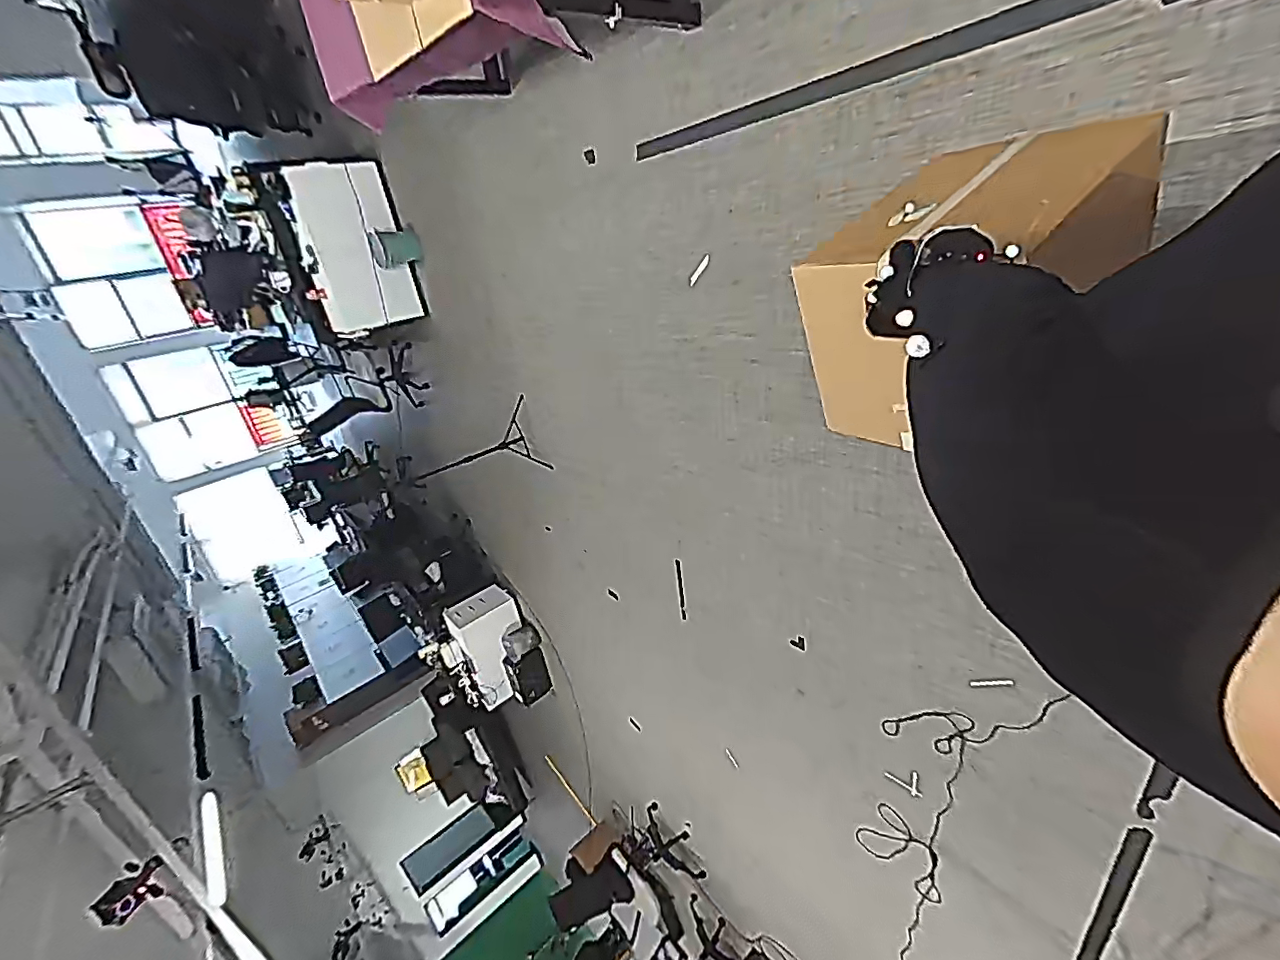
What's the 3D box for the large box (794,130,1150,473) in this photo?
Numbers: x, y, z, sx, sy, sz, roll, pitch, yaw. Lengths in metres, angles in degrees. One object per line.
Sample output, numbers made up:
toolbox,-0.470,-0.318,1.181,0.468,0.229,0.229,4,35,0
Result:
large box,0.515,-0.276,0.852,0.320,0.408,0.320,23,147,51
